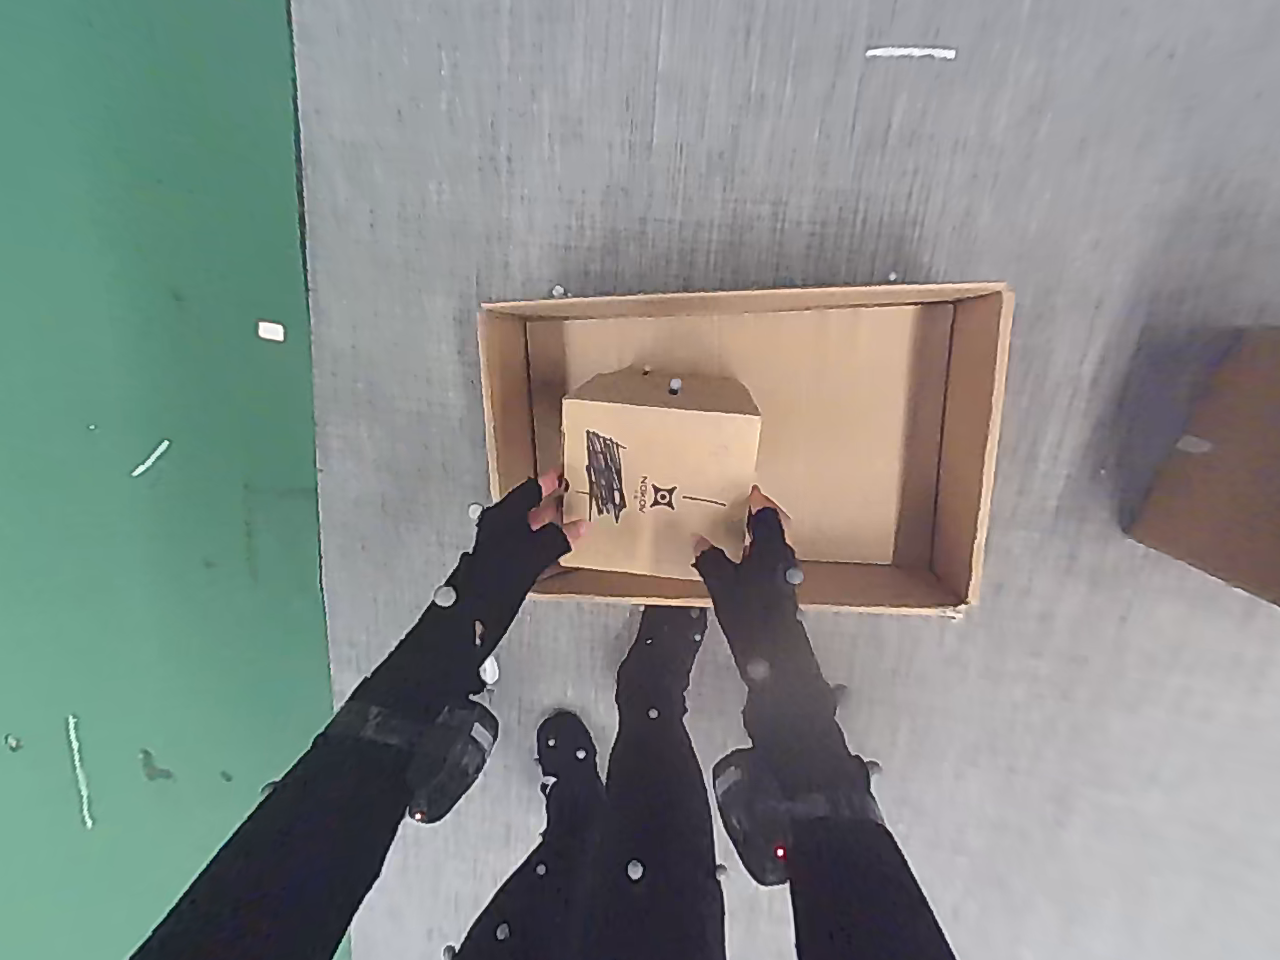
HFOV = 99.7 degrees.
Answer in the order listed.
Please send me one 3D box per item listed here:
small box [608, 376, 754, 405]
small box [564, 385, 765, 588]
[{"bbox_3d":[0.049,-0.049,0.734,0.179,0.176,0.168,6,105,4],"label":"small box"},{"bbox_3d":[0.026,-0.006,0.573,0.179,0.176,0.168,5,108,4],"label":"small box"}]
